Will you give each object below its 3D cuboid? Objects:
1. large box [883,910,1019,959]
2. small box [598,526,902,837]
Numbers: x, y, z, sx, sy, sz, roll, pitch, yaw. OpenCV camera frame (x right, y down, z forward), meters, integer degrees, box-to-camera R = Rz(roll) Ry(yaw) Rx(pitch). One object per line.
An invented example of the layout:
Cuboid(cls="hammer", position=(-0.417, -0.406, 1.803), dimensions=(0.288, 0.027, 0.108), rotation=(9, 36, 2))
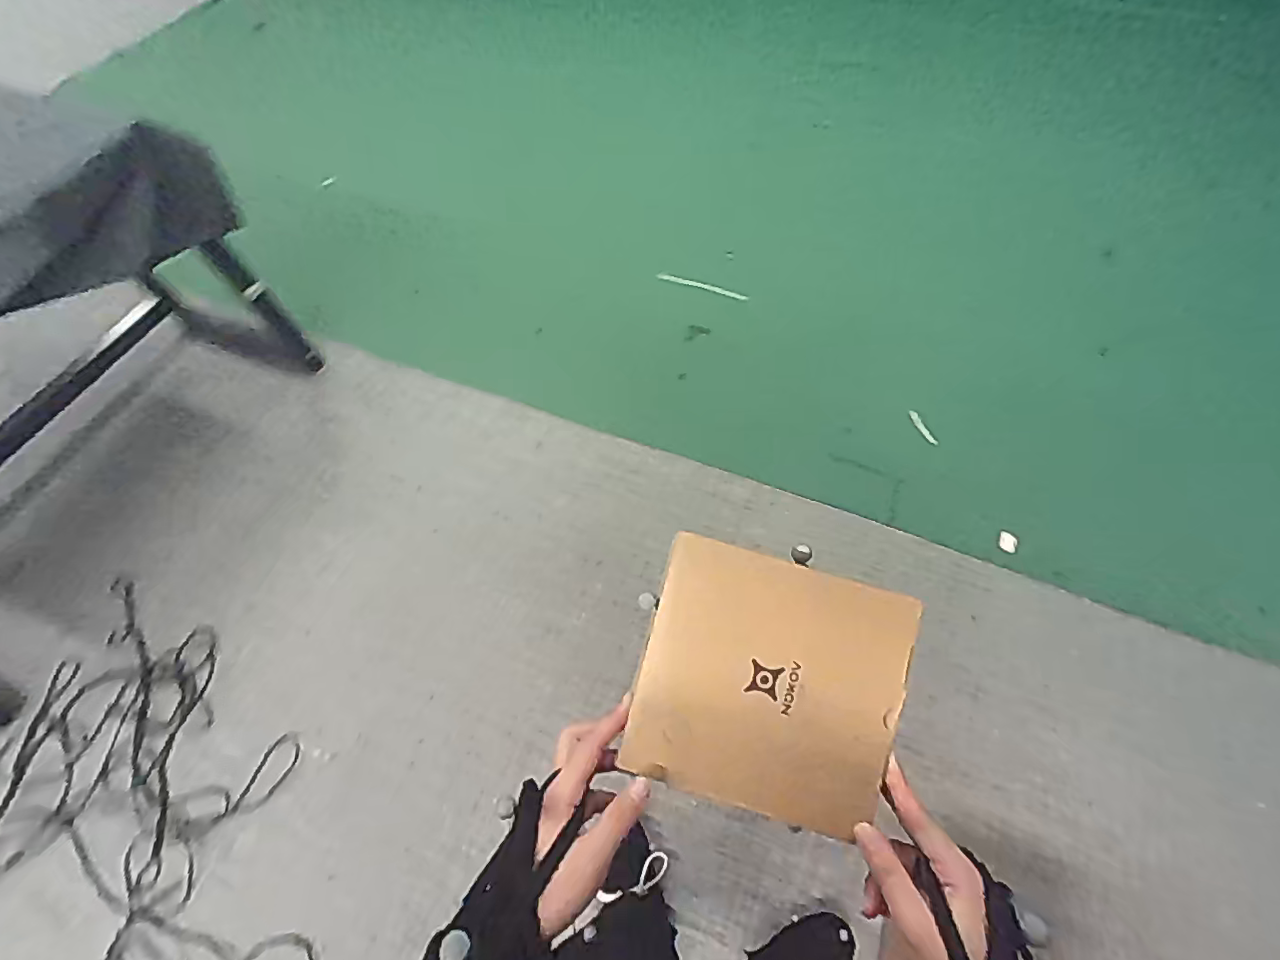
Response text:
Cuboid(cls="large box", position=(0.542, 0.946, 0.778), dimensions=(0.320, 0.320, 0.408), rotation=(17, 64, 12))
Cuboid(cls="small box", position=(0.077, 0.144, 0.444), dimensions=(0.179, 0.176, 0.168), rotation=(15, 83, 3))
